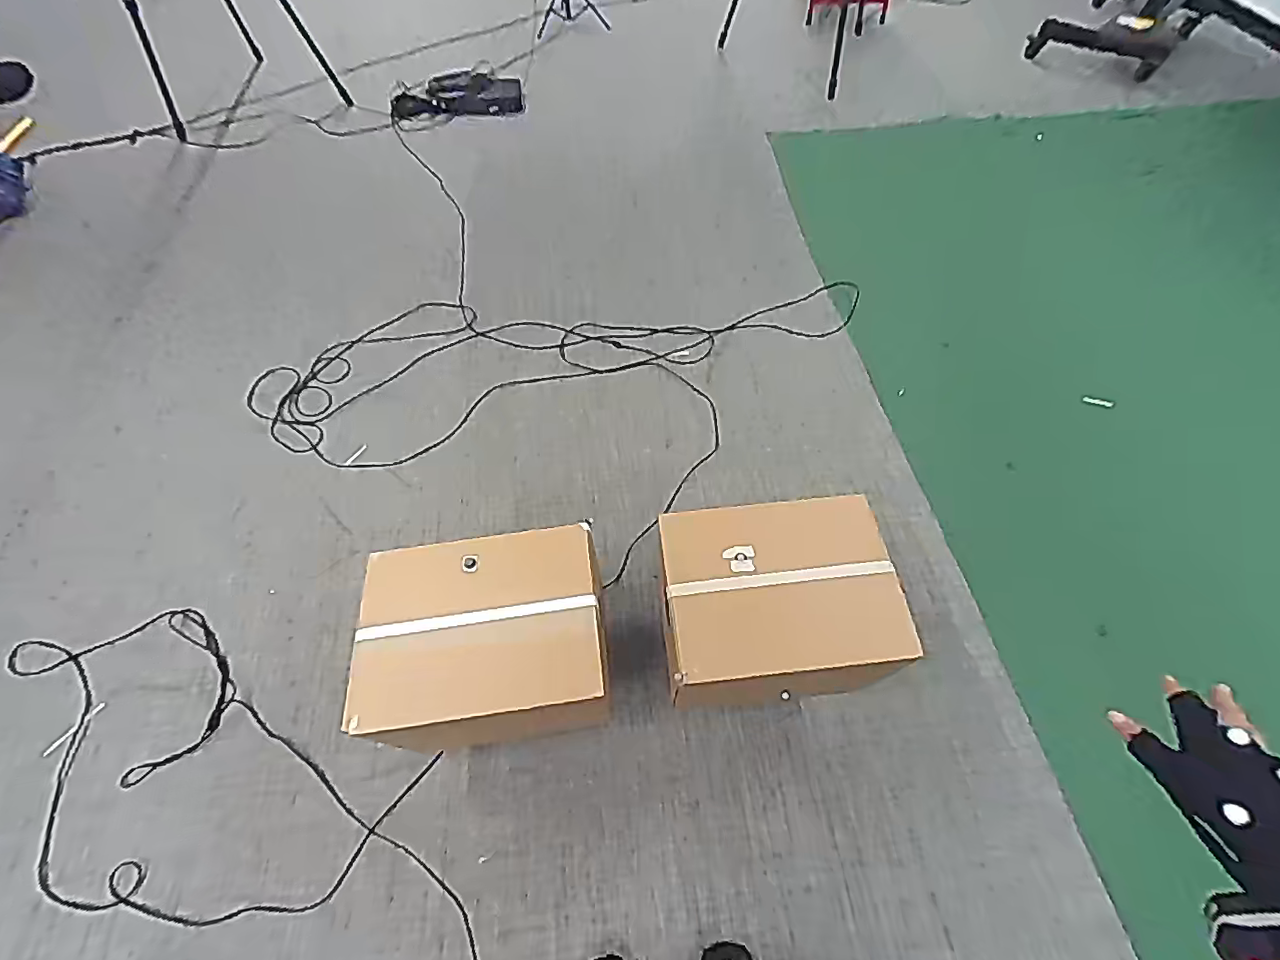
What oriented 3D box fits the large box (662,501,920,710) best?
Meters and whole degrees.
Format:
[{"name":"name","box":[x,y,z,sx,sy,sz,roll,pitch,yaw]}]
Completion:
[{"name":"large box","box":[0.264,0.267,1.100,0.408,0.320,0.320,-6,58,-2]}]
